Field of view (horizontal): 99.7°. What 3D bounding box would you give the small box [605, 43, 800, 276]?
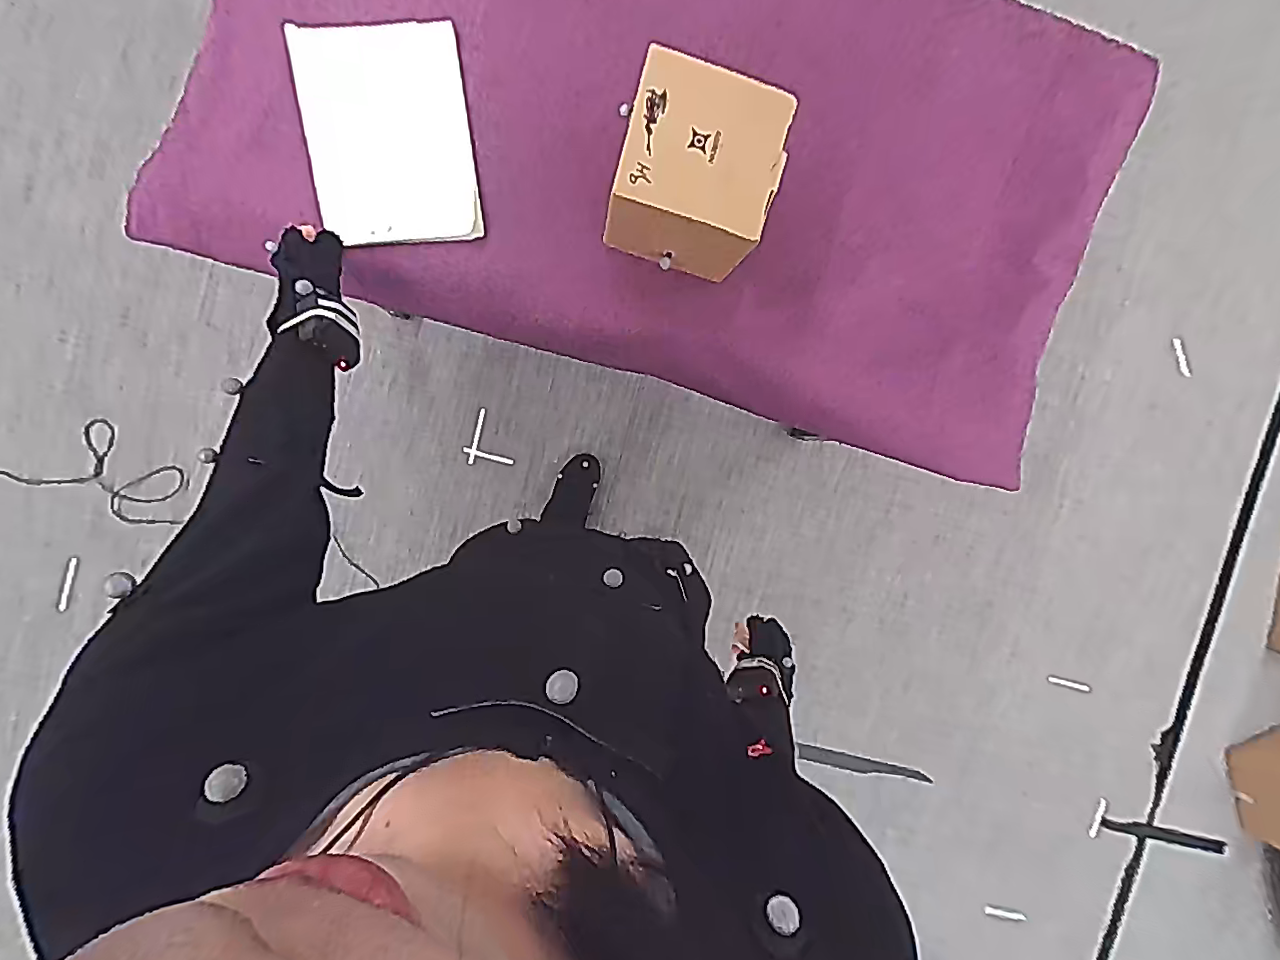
[{"bbox_3d":[0.064,-0.372,0.669,0.179,0.176,0.168,15,92,-9],"label":"small box"}]
